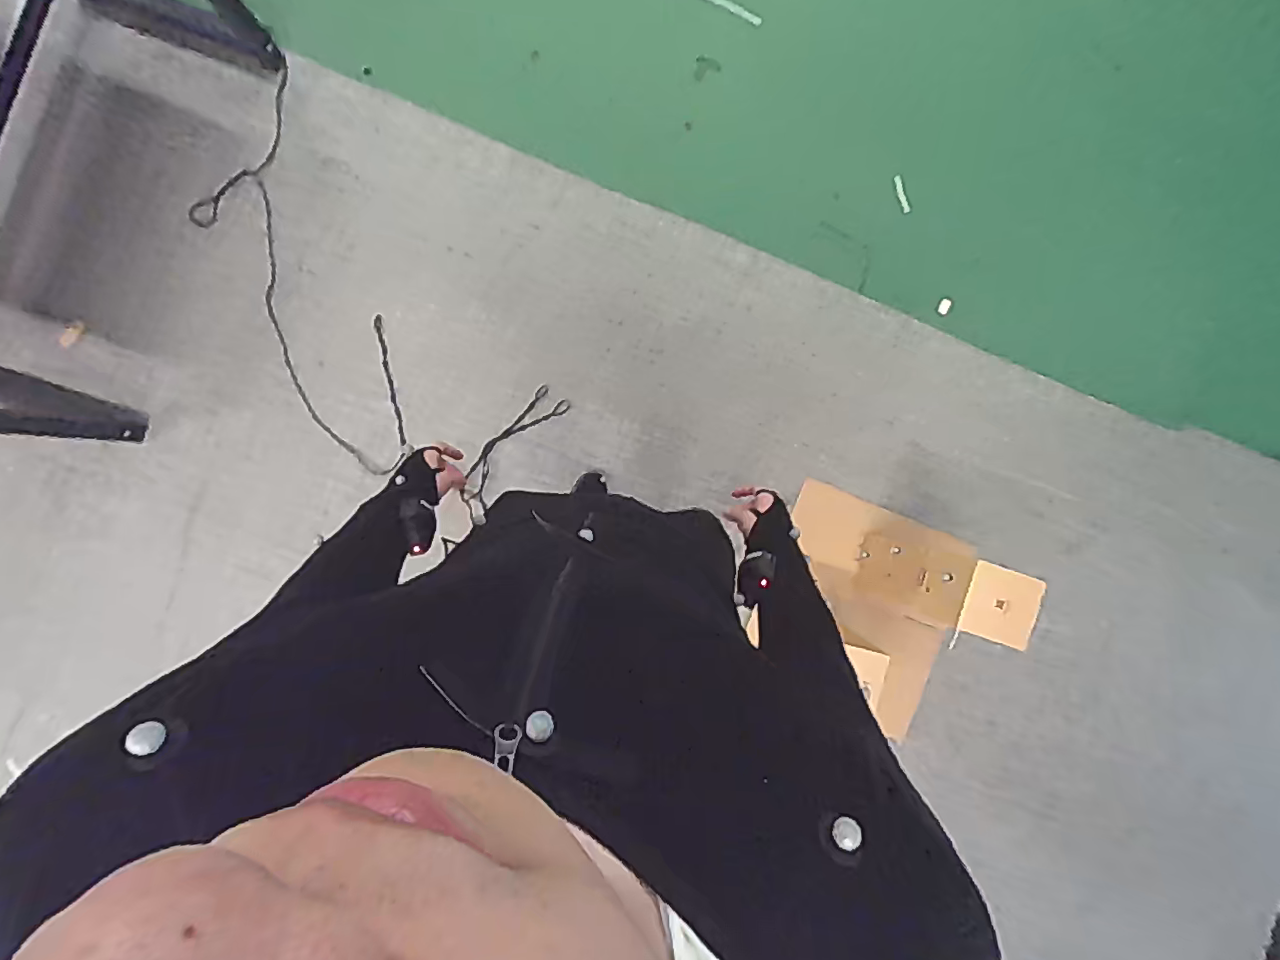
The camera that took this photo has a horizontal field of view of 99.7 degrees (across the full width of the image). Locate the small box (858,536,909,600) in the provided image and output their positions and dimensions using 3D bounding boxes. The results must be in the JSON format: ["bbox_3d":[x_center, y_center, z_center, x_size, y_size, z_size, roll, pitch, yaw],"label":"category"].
[{"bbox_3d":[0.781,0.269,1.598,0.179,0.176,0.168,15,90,-4],"label":"small box"}]

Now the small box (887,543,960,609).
[{"bbox_3d":[0.793,0.271,1.435,0.179,0.176,0.168,18,90,-5],"label":"small box"}]

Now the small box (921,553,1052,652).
[{"bbox_3d":[0.804,0.279,1.274,0.179,0.176,0.168,19,89,-5],"label":"small box"}]

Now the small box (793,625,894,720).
[{"bbox_3d":[0.522,0.493,1.415,0.179,0.176,0.168,16,91,-4],"label":"small box"}]
